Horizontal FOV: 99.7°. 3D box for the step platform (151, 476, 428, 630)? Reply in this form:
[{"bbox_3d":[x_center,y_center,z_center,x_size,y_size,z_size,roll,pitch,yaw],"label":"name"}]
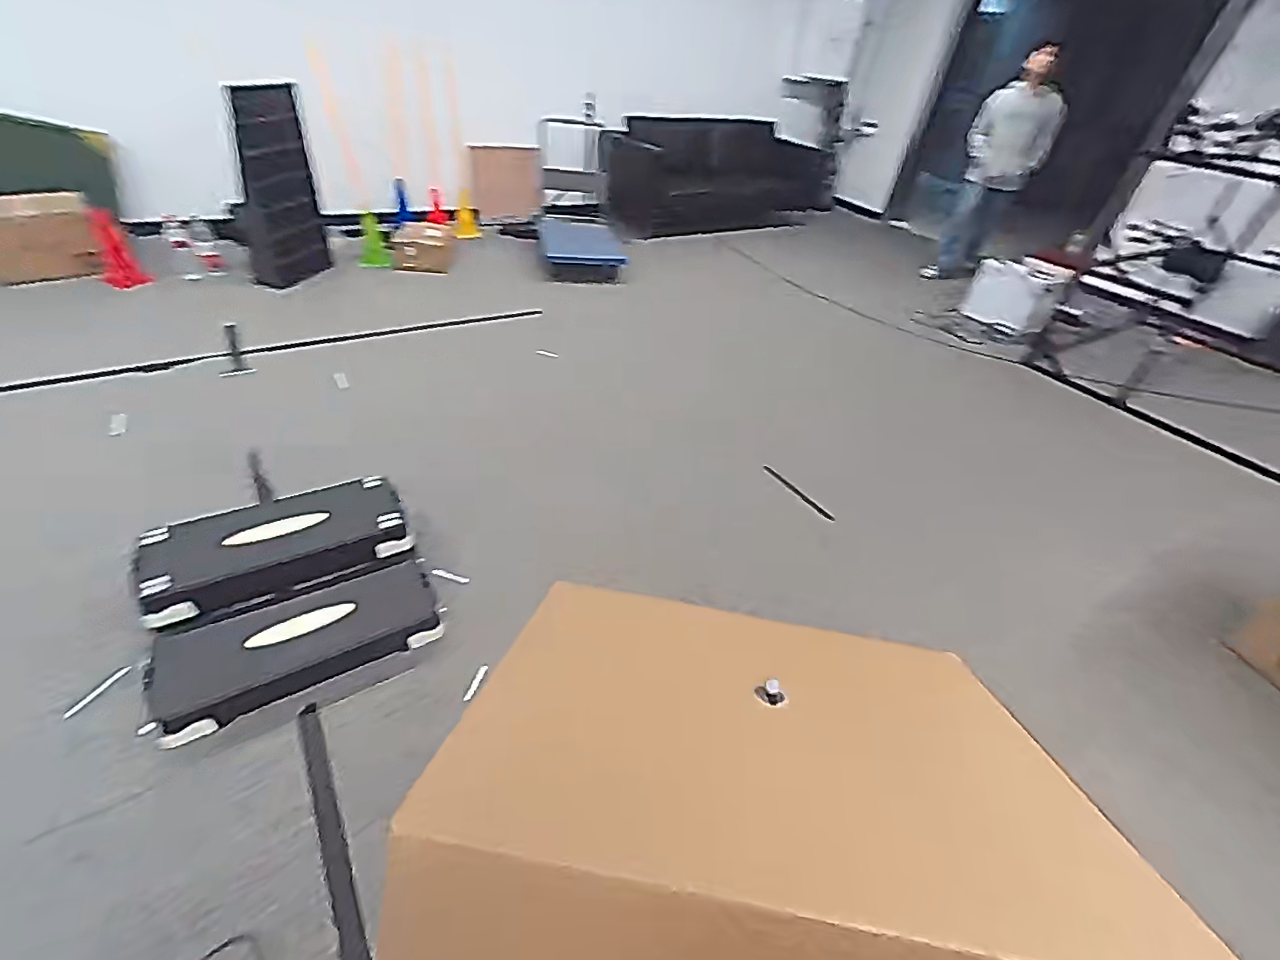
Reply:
[{"bbox_3d":[-1.015,0.194,1.628,0.684,0.204,0.286,-13,43,-25],"label":"step platform"}]
